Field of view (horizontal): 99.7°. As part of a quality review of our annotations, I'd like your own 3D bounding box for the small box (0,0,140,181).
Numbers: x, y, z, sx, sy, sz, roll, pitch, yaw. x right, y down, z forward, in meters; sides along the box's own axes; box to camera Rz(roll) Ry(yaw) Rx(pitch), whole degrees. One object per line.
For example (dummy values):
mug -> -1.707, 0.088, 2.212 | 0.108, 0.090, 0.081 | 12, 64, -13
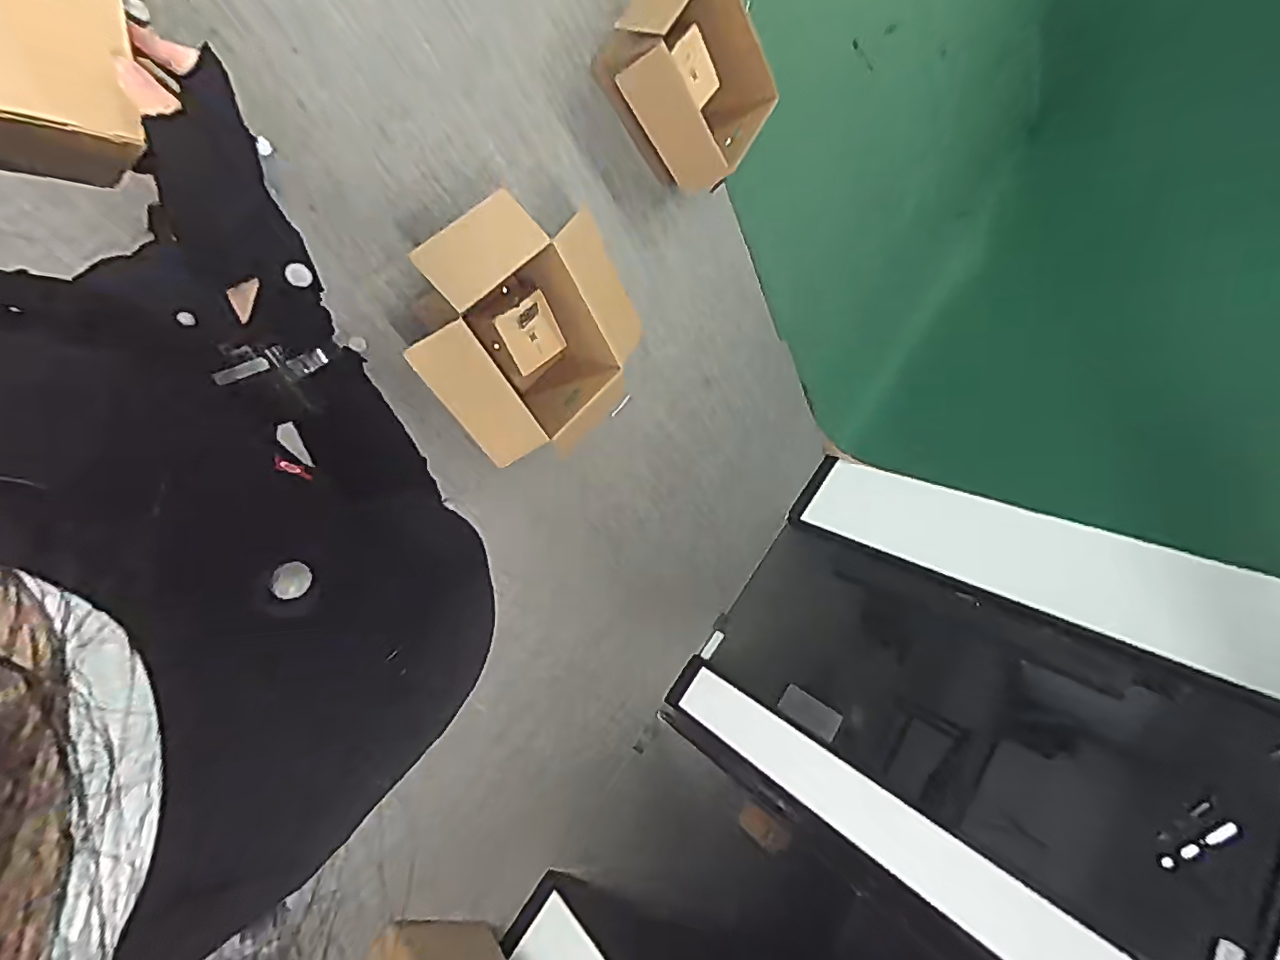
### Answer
small box -> -0.389, -0.271, 0.270 | 0.168, 0.176, 0.179 | -15, 114, -46
